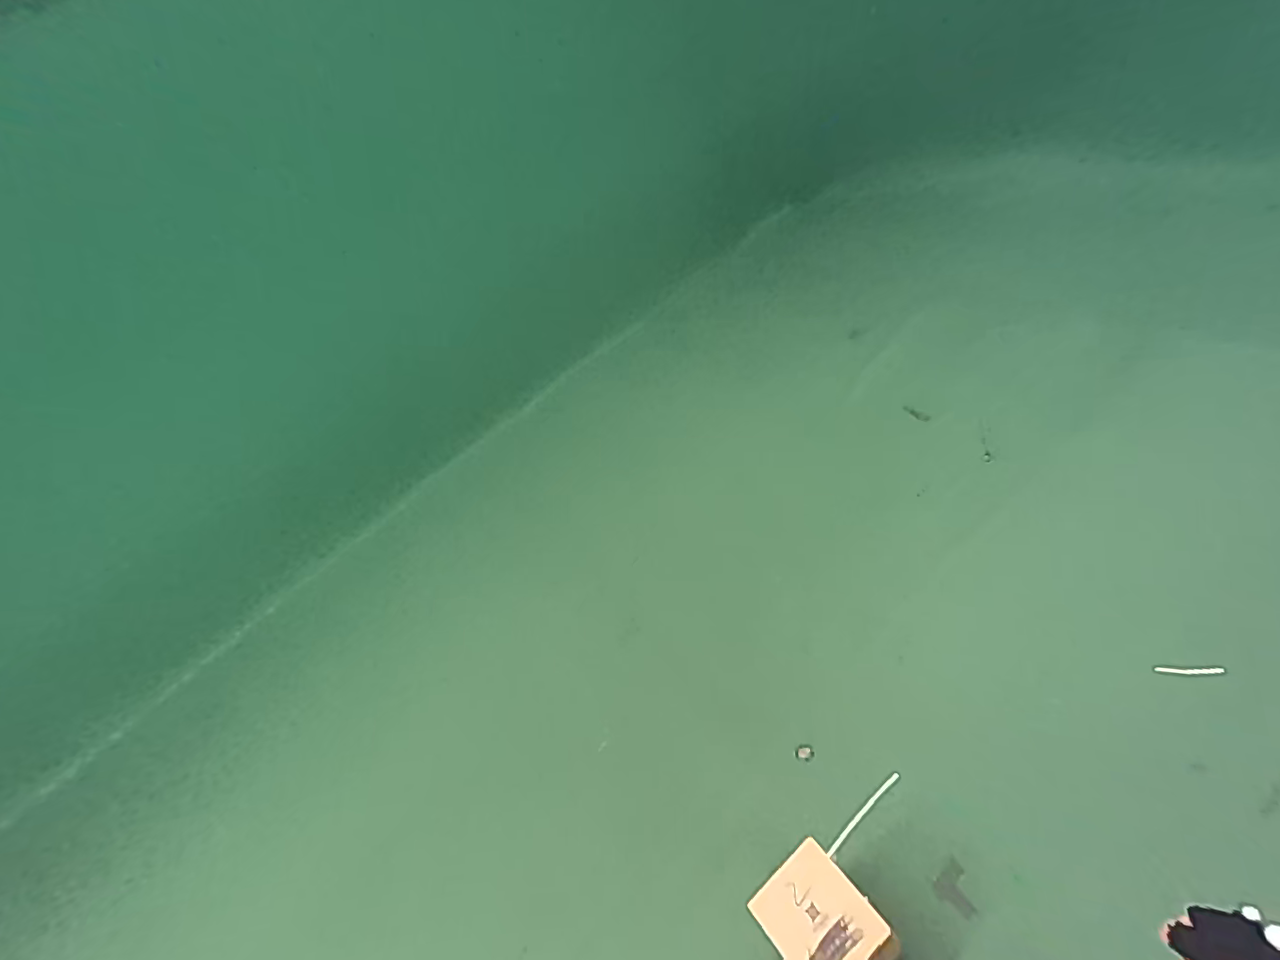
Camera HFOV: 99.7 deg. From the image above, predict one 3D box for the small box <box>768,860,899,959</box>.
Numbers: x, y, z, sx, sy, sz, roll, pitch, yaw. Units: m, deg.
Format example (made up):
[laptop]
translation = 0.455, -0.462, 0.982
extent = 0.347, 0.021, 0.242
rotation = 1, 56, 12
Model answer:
[small box]
translation = 0.388, 0.904, 1.068
extent = 0.168, 0.176, 0.179
rotation = -38, 42, -10
